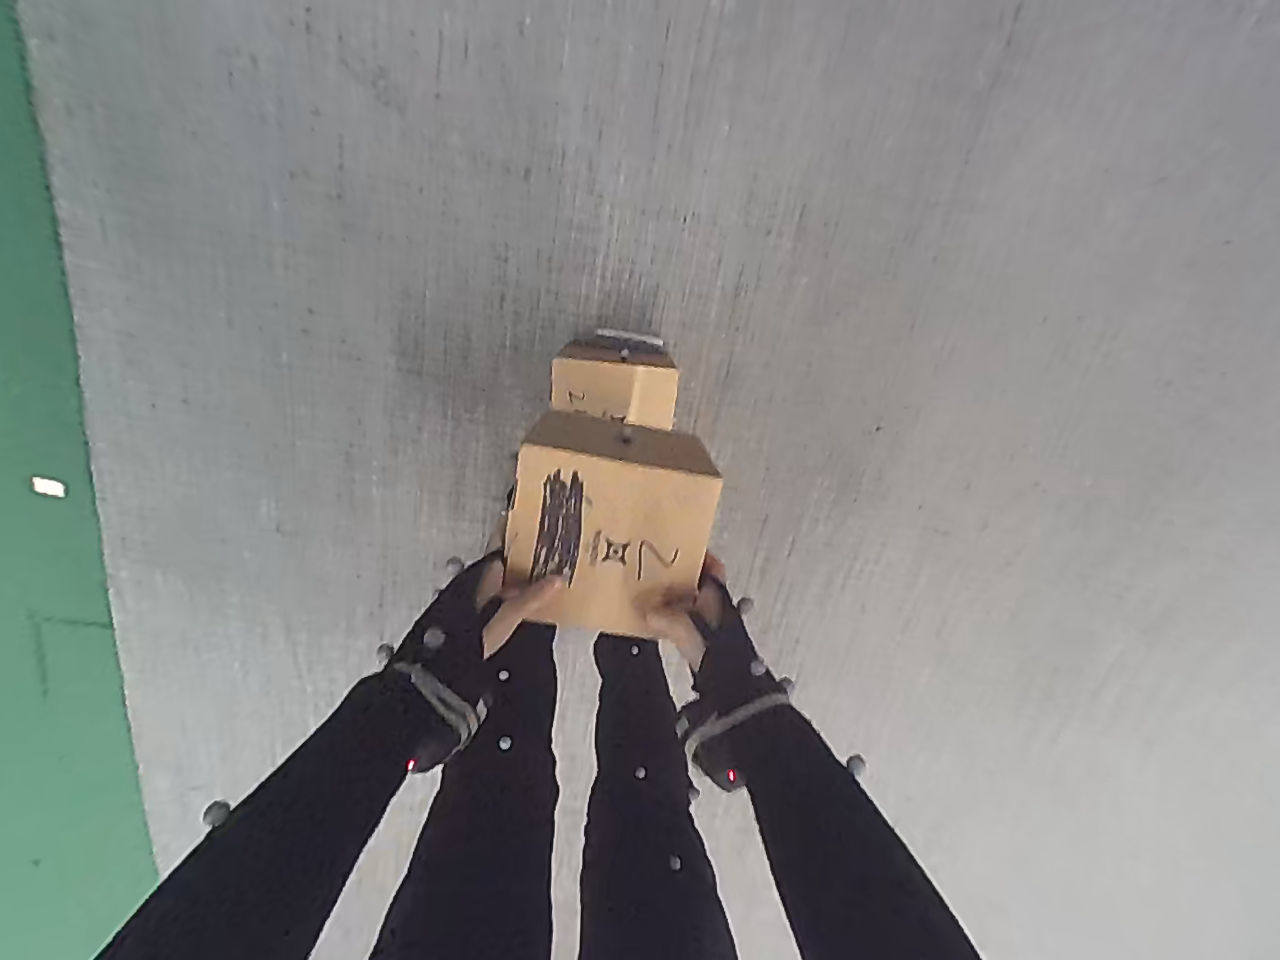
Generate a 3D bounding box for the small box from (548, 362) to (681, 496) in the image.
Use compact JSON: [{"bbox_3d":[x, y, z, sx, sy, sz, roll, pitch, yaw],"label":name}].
[{"bbox_3d":[-0.041,-0.085,0.833,0.179,0.176,0.168,5,108,-3],"label":"small box"}]
